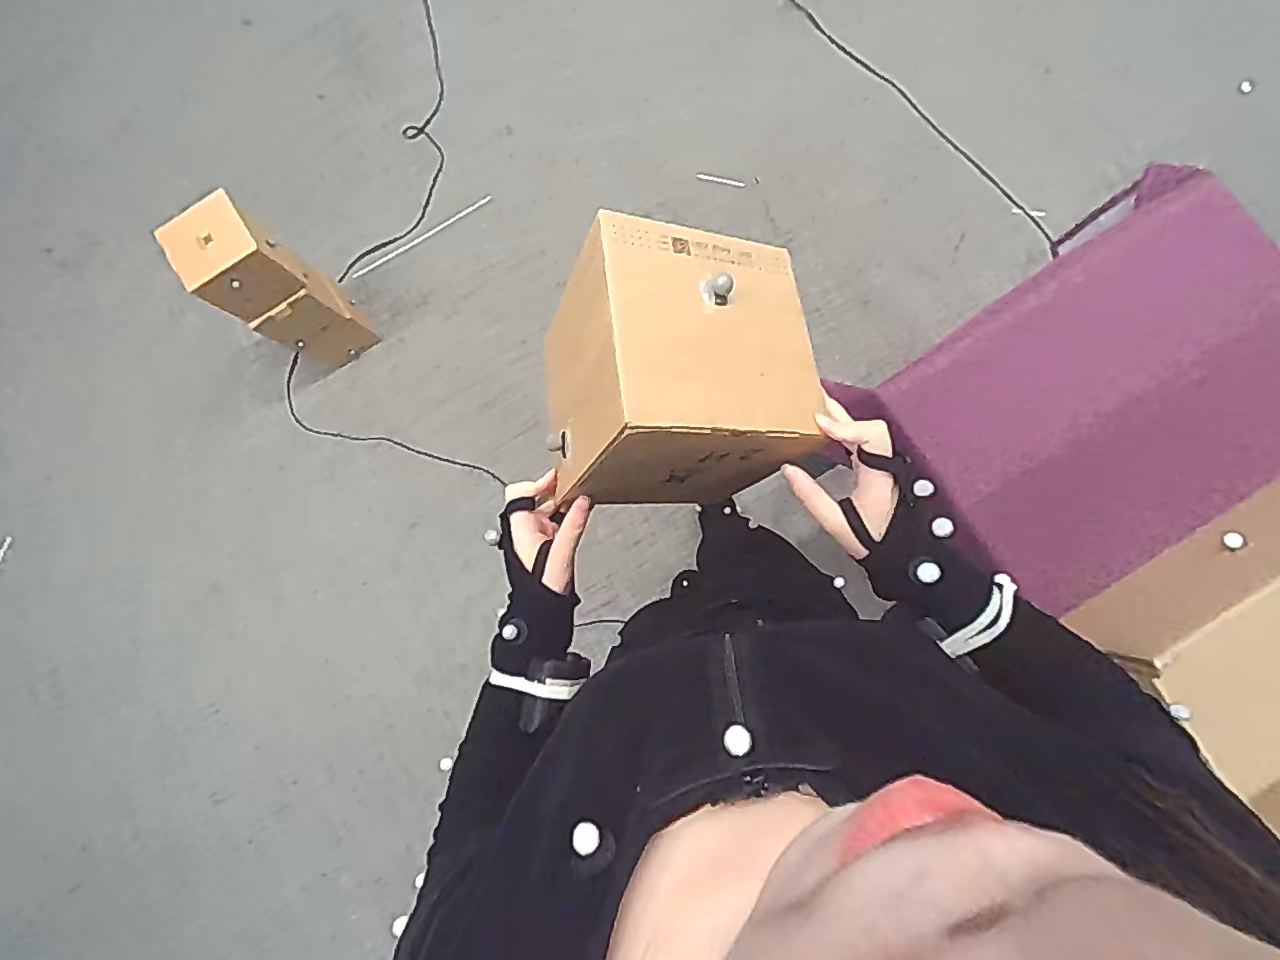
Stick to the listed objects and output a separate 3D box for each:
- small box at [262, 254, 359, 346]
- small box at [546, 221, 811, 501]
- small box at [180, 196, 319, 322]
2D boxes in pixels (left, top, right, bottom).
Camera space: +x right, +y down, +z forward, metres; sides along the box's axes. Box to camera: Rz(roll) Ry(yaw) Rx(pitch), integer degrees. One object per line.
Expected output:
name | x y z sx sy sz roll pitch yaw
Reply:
small box | -0.878 -0.470 1.407 0.168 0.176 0.179 -33 82 0
small box | 0.017 -0.085 0.473 0.168 0.179 0.176 0 71 -23
small box | -0.883 -0.499 1.246 0.179 0.176 0.168 -33 83 2
